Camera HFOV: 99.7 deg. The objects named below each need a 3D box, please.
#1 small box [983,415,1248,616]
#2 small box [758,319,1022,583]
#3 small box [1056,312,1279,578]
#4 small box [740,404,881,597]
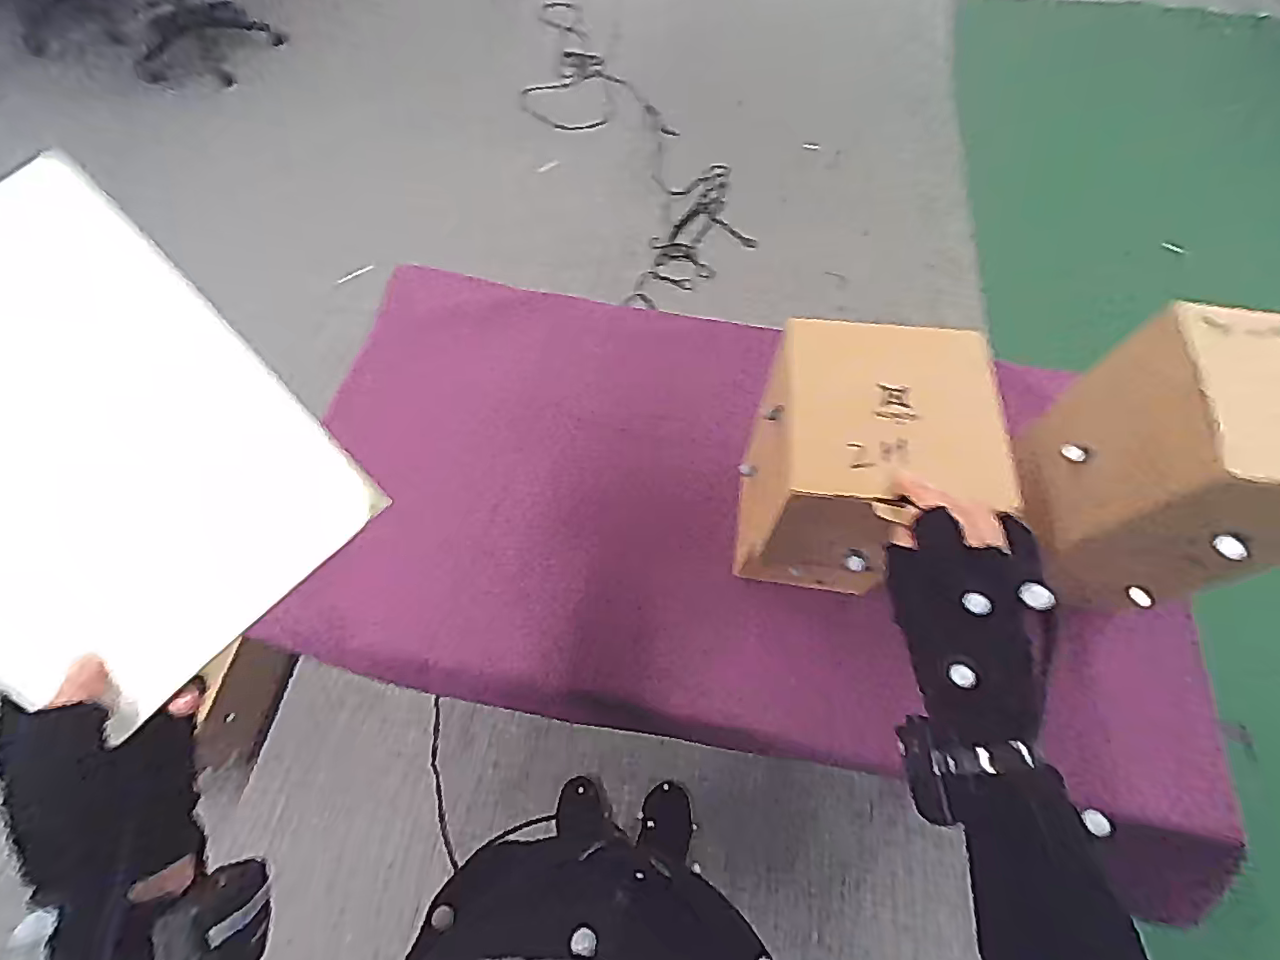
[{"bbox_3d":[0.540,0.051,0.649,0.168,0.176,0.179,11,64,6],"label":"small box"},{"bbox_3d":[0.209,-0.020,0.507,0.168,0.176,0.179,7,63,4],"label":"small box"},{"bbox_3d":[0.531,-0.022,0.502,0.168,0.176,0.179,11,65,5],"label":"small box"},{"bbox_3d":[0.220,0.033,0.666,0.168,0.176,0.179,8,63,5],"label":"small box"}]
